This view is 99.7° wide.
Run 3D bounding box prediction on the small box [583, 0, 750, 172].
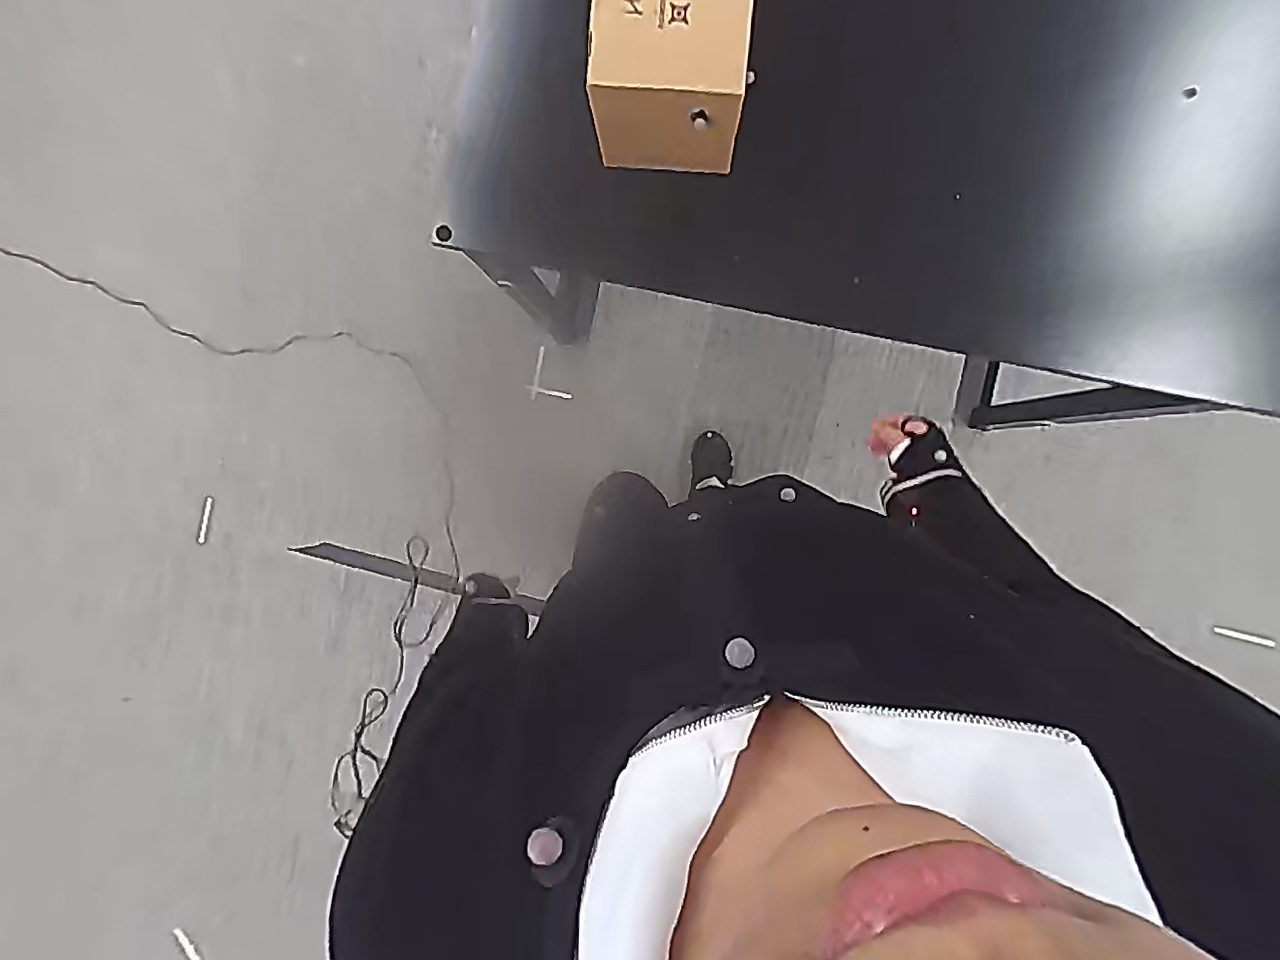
[{"bbox_3d":[0.034,-0.508,0.670,0.179,0.176,0.168,5,93,3],"label":"small box"}]
